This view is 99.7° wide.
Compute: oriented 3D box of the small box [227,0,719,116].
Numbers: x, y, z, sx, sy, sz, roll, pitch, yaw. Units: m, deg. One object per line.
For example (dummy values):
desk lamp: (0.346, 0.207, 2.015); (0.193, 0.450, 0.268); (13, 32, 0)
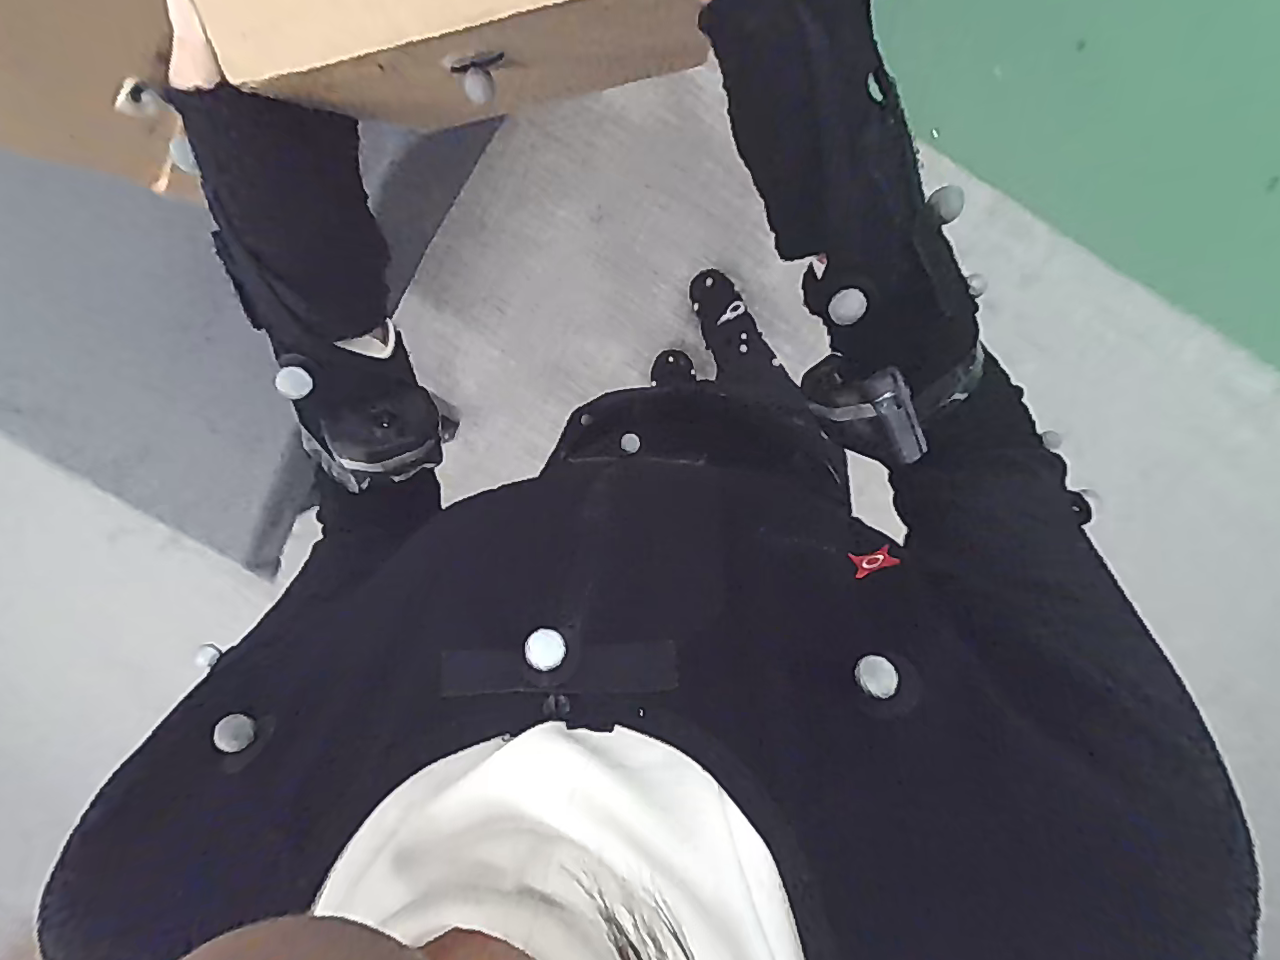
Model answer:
small box: (-0.059, -0.262, 0.214); (0.179, 0.176, 0.168); (-7, 118, 7)

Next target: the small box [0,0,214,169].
small box: (-0.471, -0.358, 0.389); (0.179, 0.176, 0.168); (31, 109, -4)

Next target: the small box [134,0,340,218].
small box: (-0.443, -0.400, 0.544); (0.168, 0.176, 0.179); (33, 107, -3)
